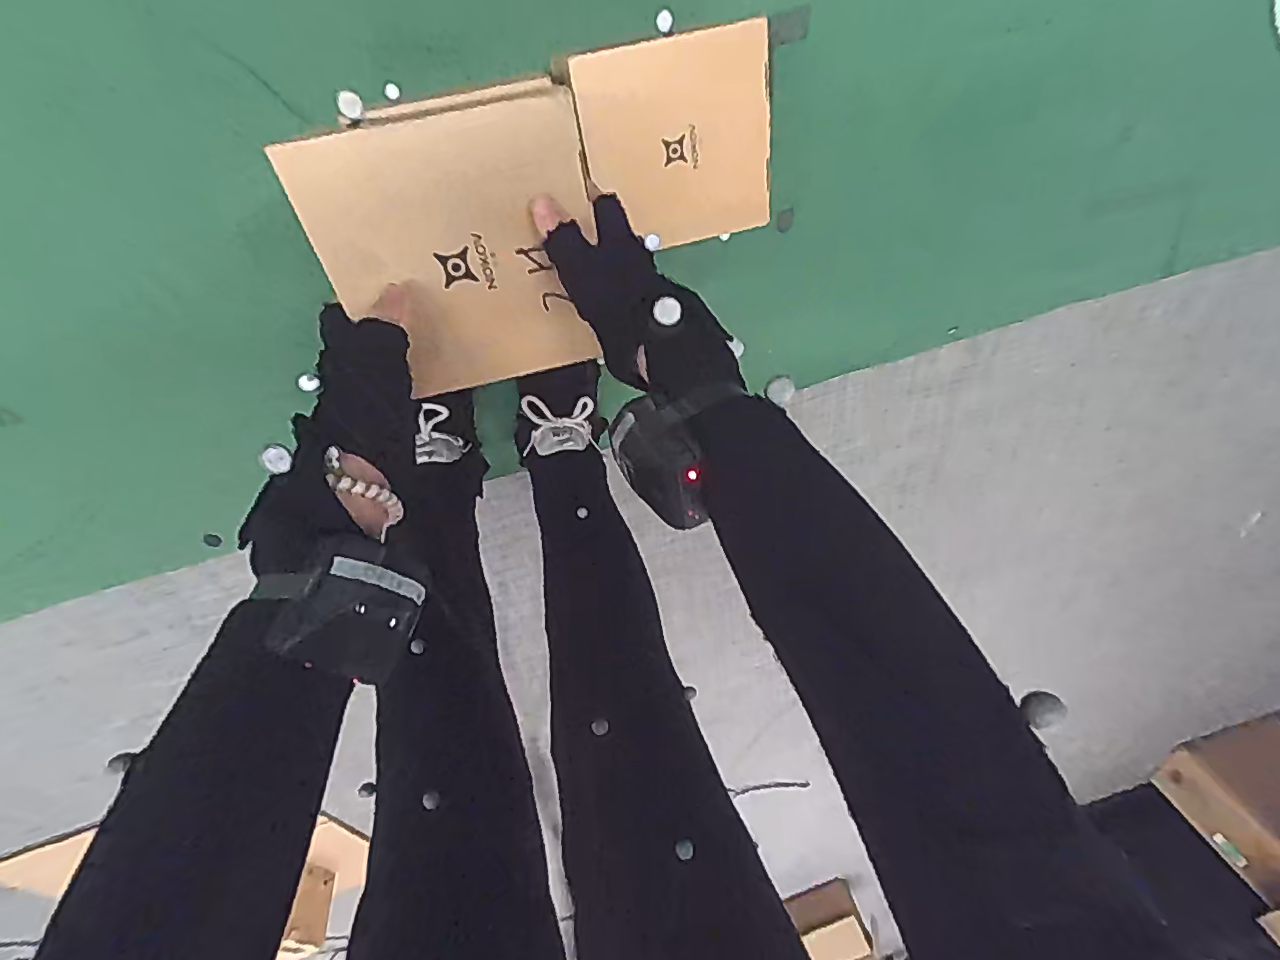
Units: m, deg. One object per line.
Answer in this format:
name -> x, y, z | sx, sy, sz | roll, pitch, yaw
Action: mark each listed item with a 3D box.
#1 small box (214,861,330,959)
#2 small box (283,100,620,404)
small box -> -0.930, 1.114, 1.388 | 0.179, 0.176, 0.168 | -20, 130, 0
small box -> -0.124, -0.183, 0.419 | 0.179, 0.176, 0.168 | -14, 128, -5
